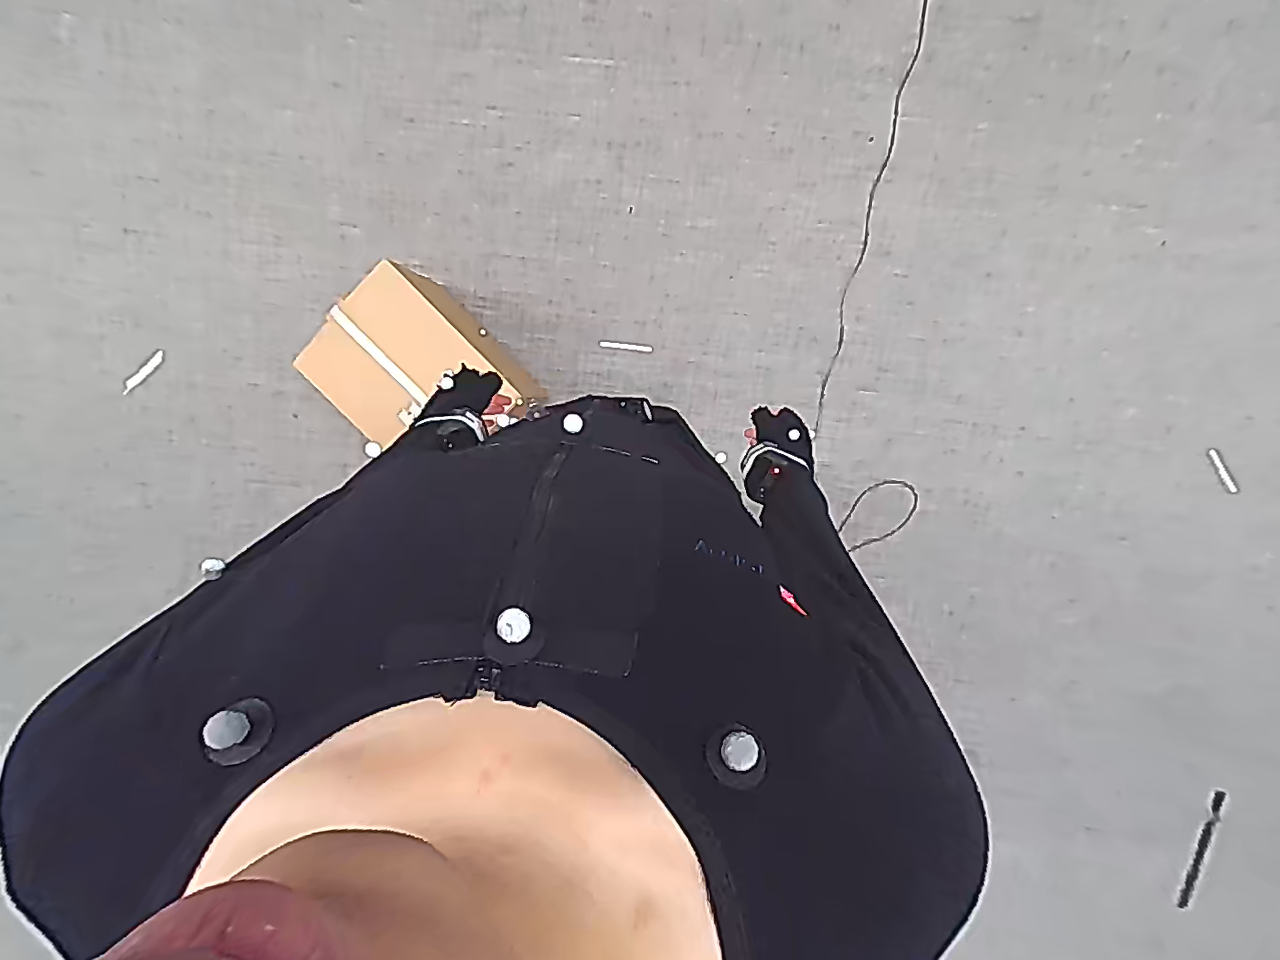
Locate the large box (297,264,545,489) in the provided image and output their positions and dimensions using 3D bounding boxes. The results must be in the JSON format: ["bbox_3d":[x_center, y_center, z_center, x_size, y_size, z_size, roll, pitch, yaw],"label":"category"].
[{"bbox_3d":[-0.503,-0.243,1.326,0.320,0.320,0.408,-44,96,8],"label":"large box"}]
